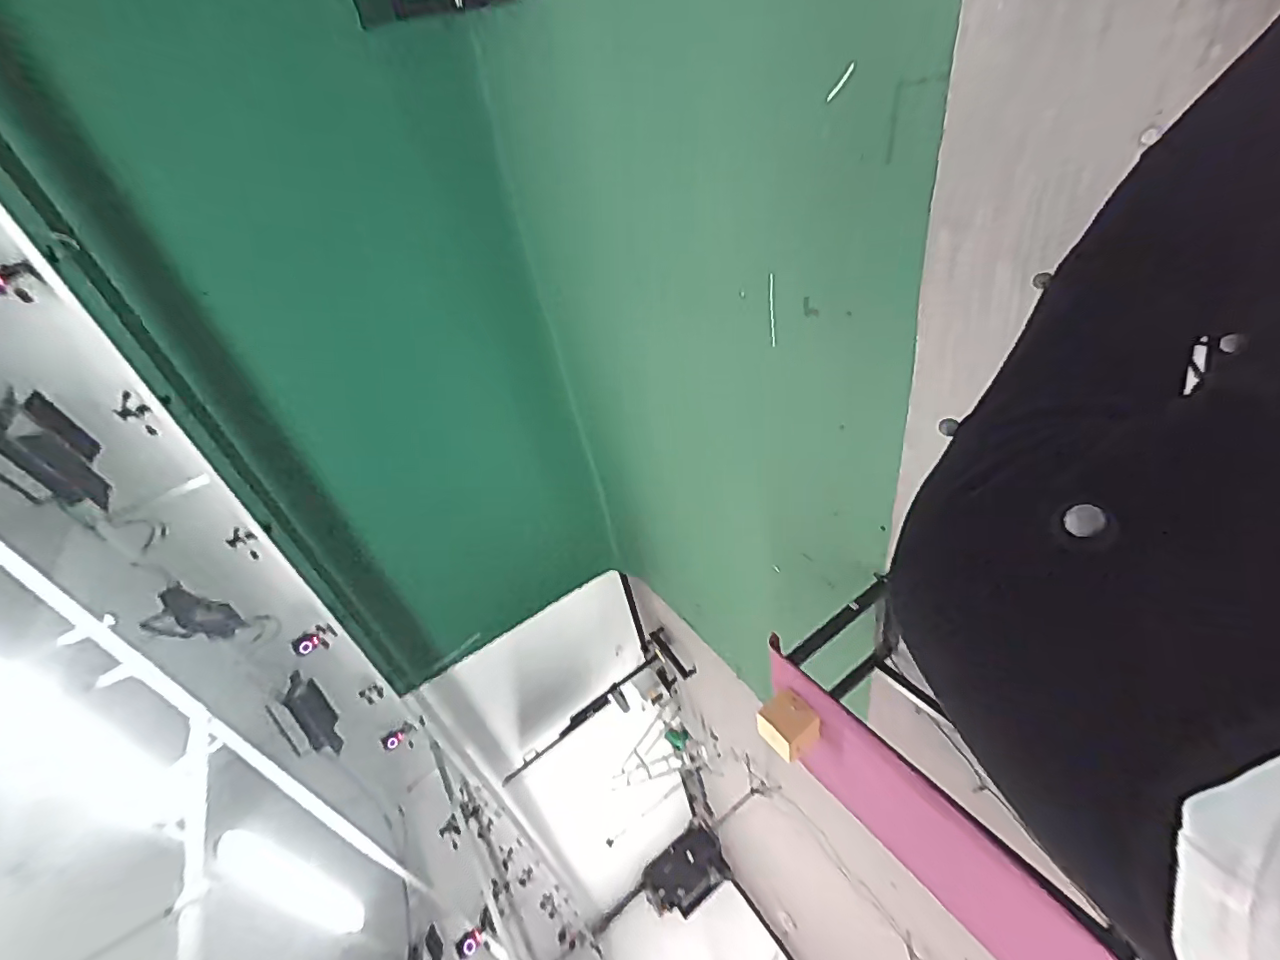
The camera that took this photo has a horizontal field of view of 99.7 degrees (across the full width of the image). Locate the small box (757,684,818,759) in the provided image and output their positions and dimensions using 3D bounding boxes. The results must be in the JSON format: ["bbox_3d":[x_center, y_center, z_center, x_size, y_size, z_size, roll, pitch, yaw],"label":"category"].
[{"bbox_3d":[0.576,0.939,2.108,0.168,0.176,0.179,37,149,44],"label":"small box"}]
